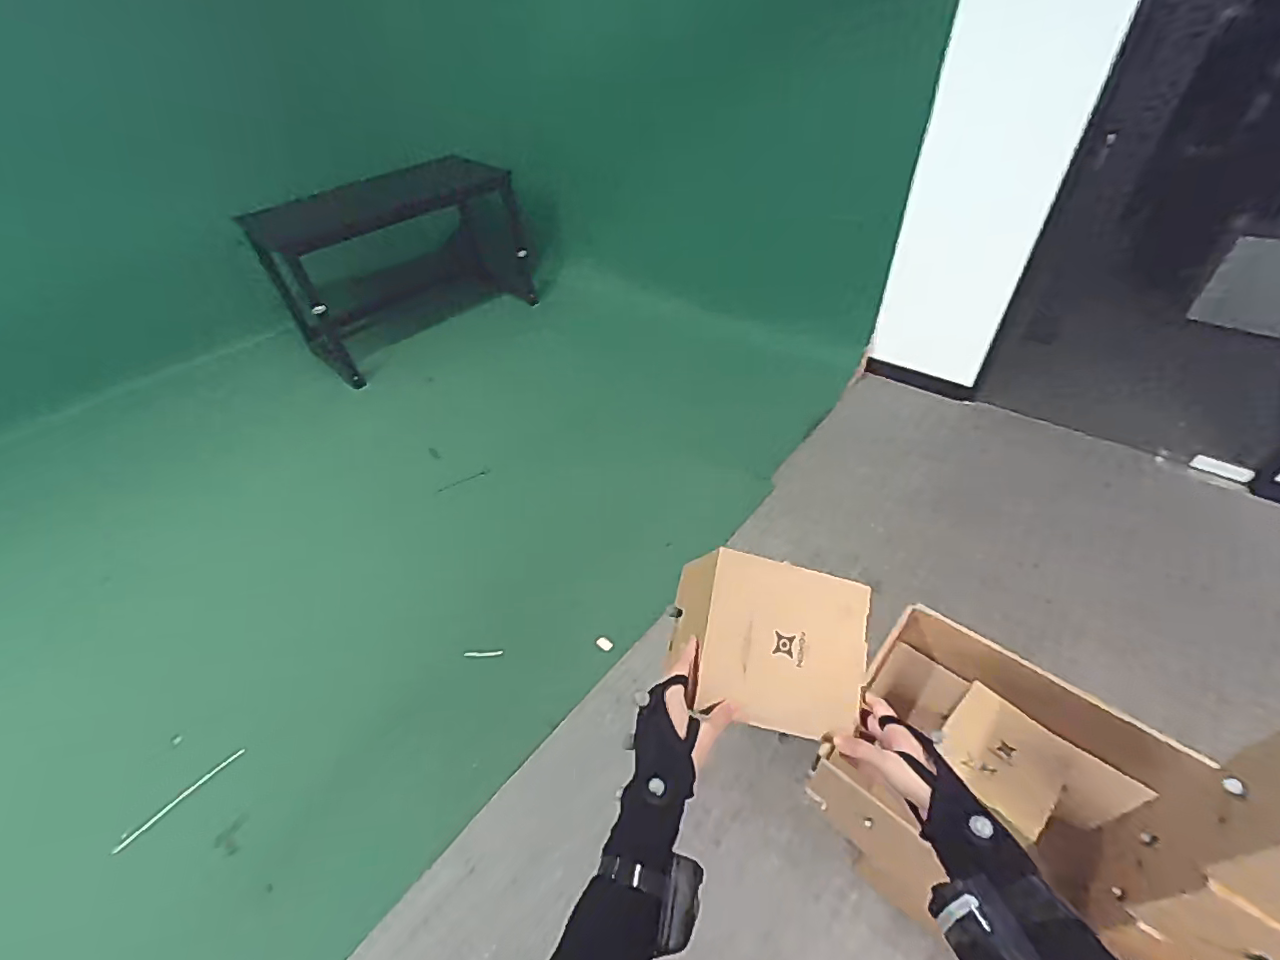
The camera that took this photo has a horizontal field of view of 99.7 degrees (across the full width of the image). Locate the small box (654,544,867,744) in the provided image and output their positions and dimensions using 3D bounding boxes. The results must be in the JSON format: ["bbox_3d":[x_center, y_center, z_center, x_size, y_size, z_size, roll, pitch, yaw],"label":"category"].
[{"bbox_3d":[0.129,0.184,0.621,0.179,0.176,0.168,15,71,-6],"label":"small box"}]

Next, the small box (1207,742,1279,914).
[{"bbox_3d":[0.740,0.370,0.534,0.168,0.176,0.179,-37,52,-27],"label":"small box"}]
